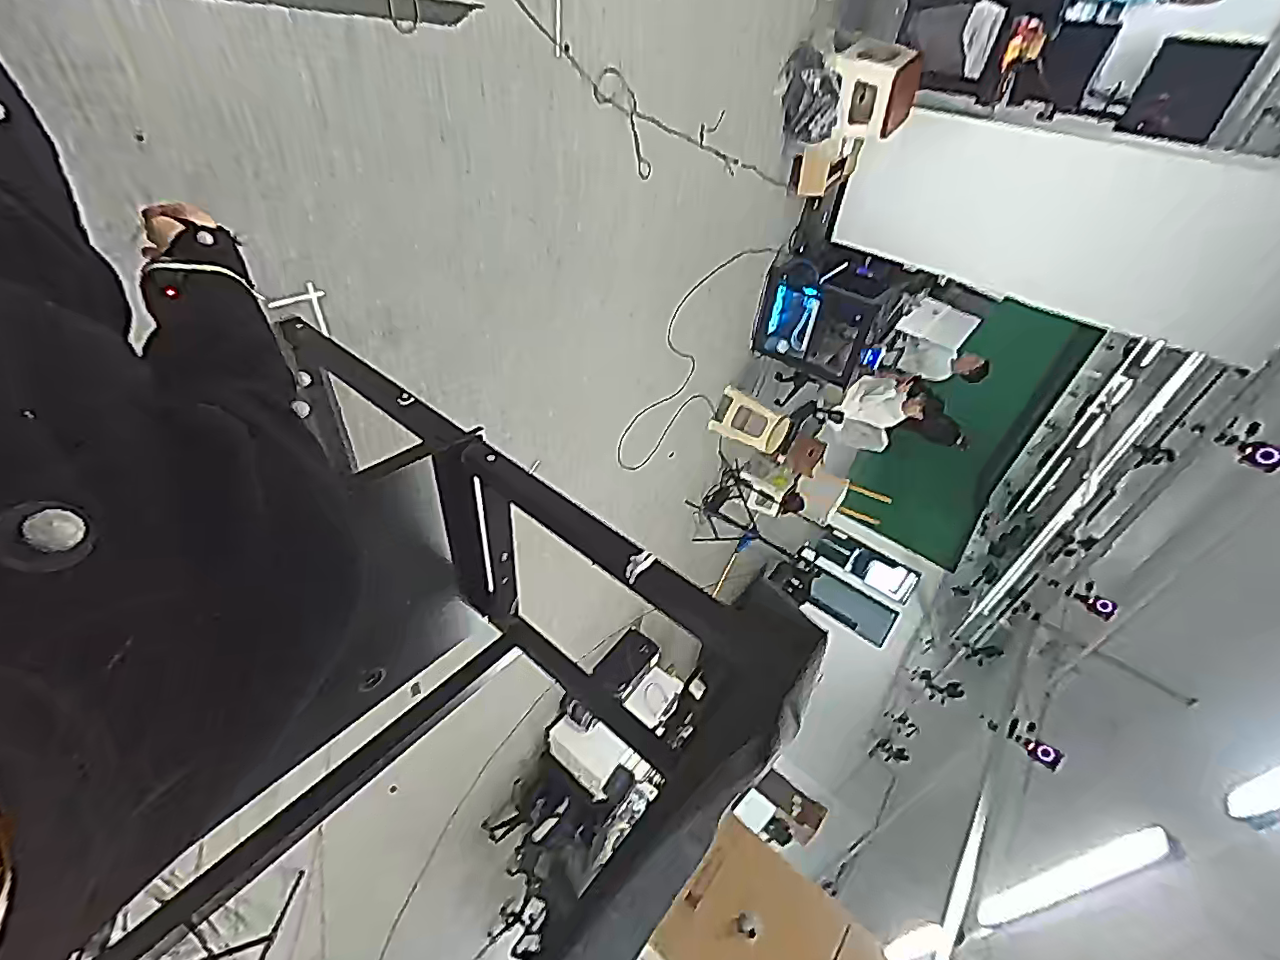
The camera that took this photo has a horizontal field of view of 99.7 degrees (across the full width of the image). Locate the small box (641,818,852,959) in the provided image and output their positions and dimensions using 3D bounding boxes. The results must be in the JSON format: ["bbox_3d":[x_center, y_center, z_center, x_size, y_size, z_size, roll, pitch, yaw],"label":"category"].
[{"bbox_3d":[0.116,0.544,0.639,0.168,0.176,0.179,-38,149,-36],"label":"small box"}]
